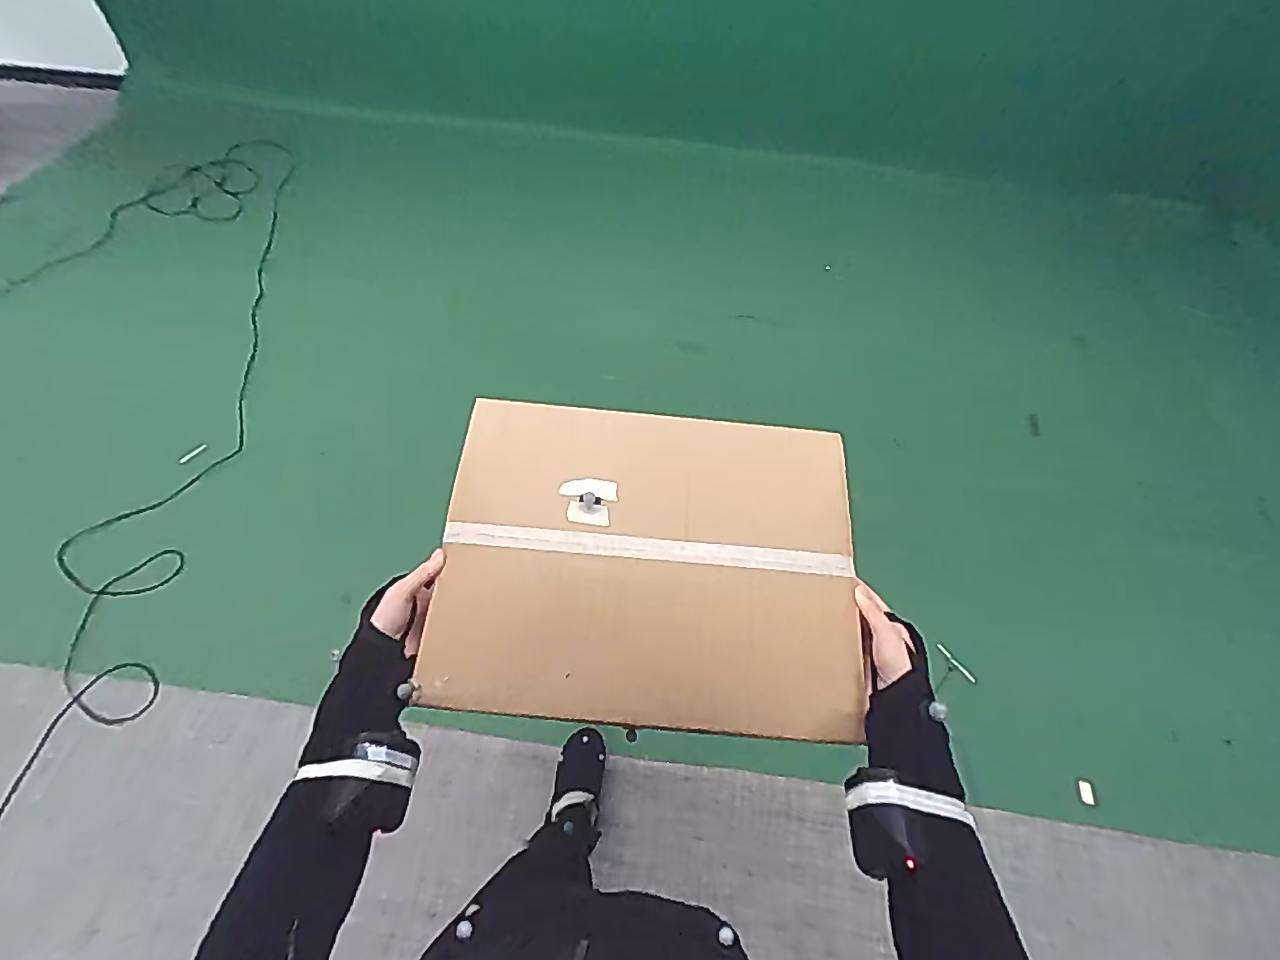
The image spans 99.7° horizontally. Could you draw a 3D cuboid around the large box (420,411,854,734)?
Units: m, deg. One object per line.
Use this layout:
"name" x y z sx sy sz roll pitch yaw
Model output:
"large box" 0.004 0.134 0.684 0.408 0.320 0.320 5 65 0
